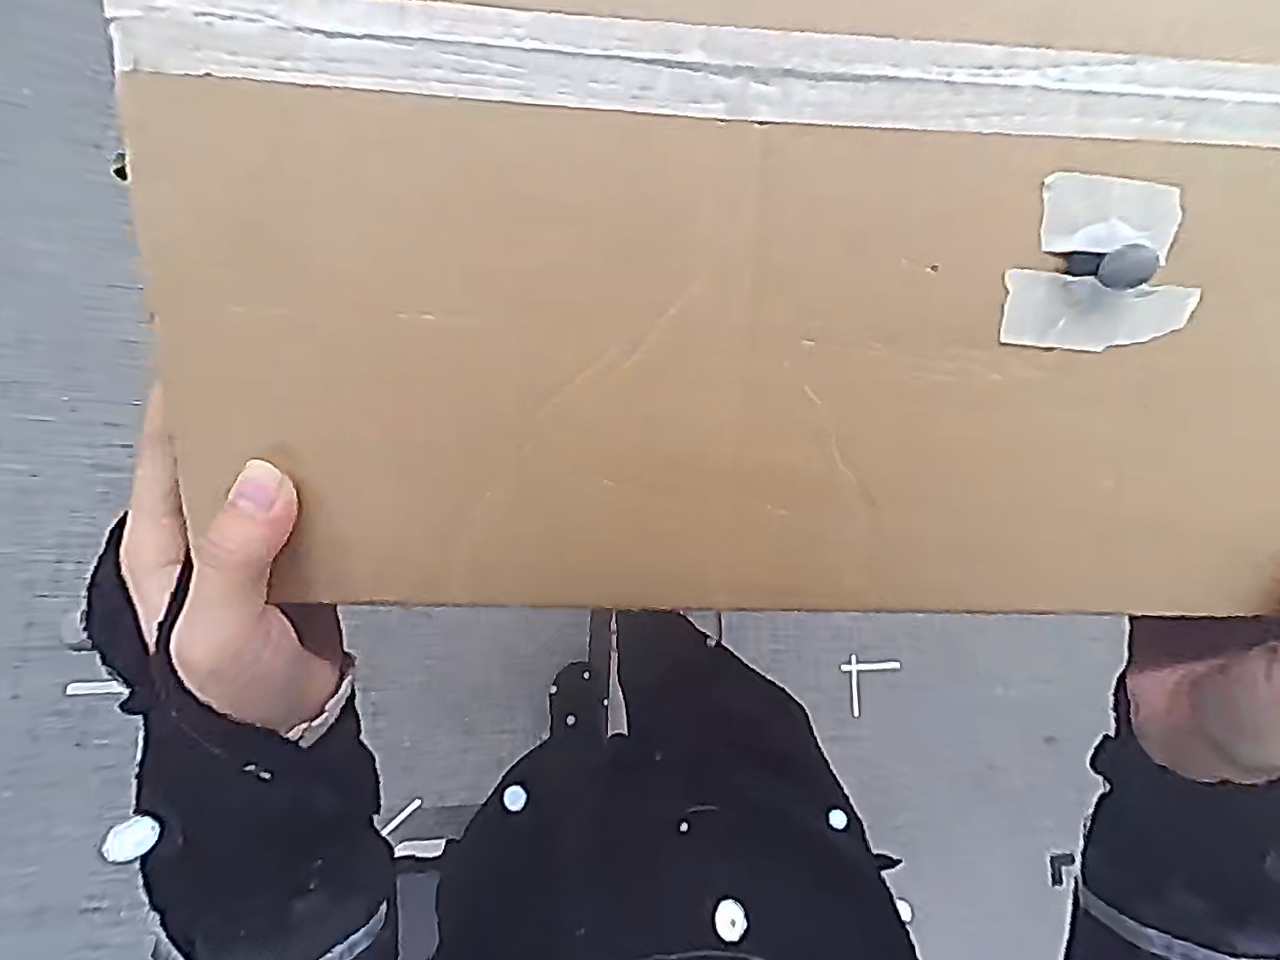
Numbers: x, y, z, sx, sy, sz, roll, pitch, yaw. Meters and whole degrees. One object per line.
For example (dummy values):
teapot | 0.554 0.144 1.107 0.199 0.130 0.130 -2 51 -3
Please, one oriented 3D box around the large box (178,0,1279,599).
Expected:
large box | 0.058 -0.139 0.310 0.408 0.320 0.320 1 102 -5
